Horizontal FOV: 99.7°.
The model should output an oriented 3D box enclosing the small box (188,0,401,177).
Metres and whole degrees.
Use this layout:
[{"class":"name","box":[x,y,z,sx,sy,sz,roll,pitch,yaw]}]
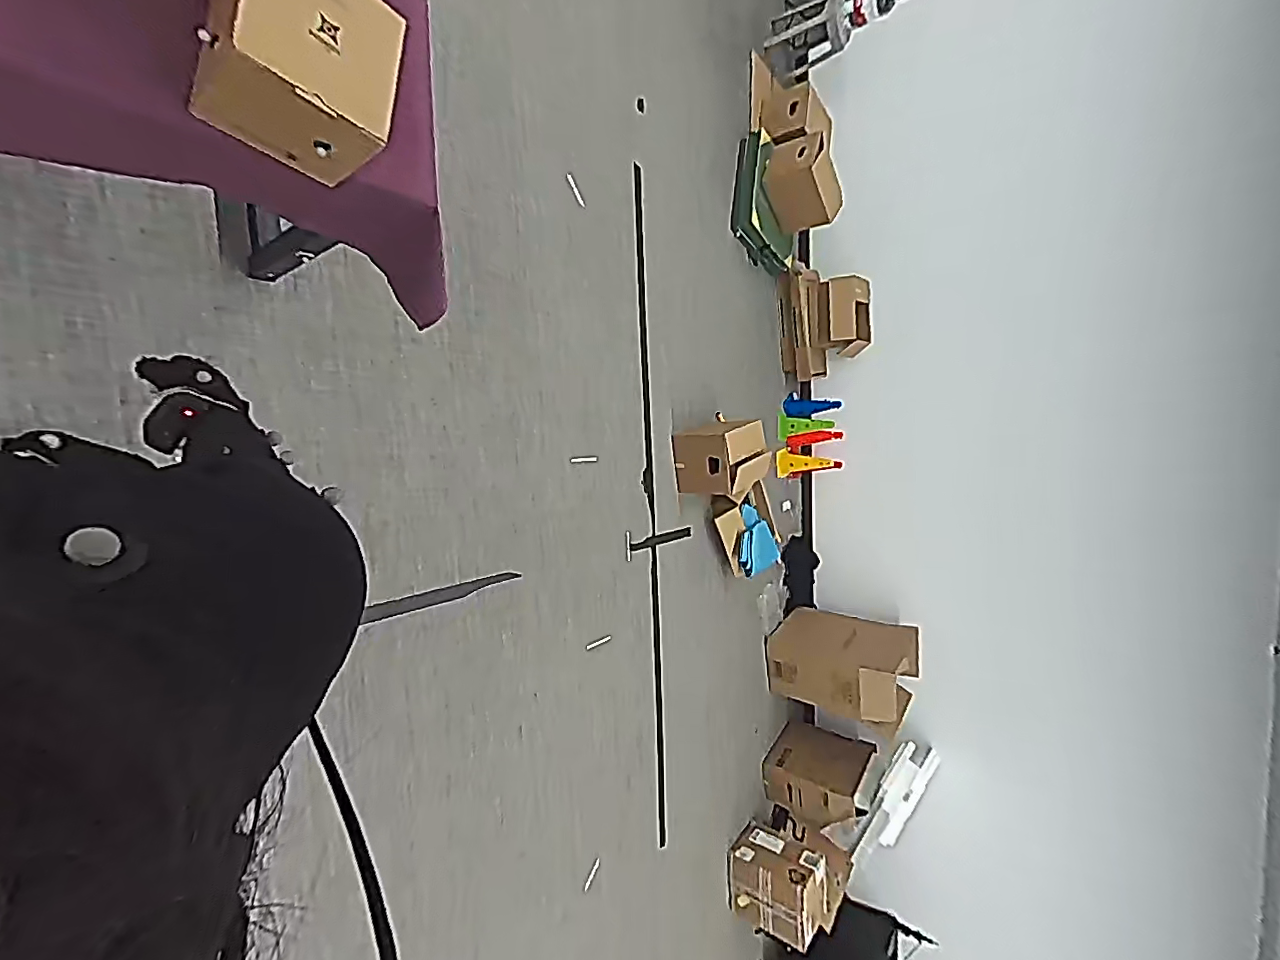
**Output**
[{"class":"small box","box":[-0.427,-0.518,0.670,0.168,0.176,0.179,13,79,-53]}]
